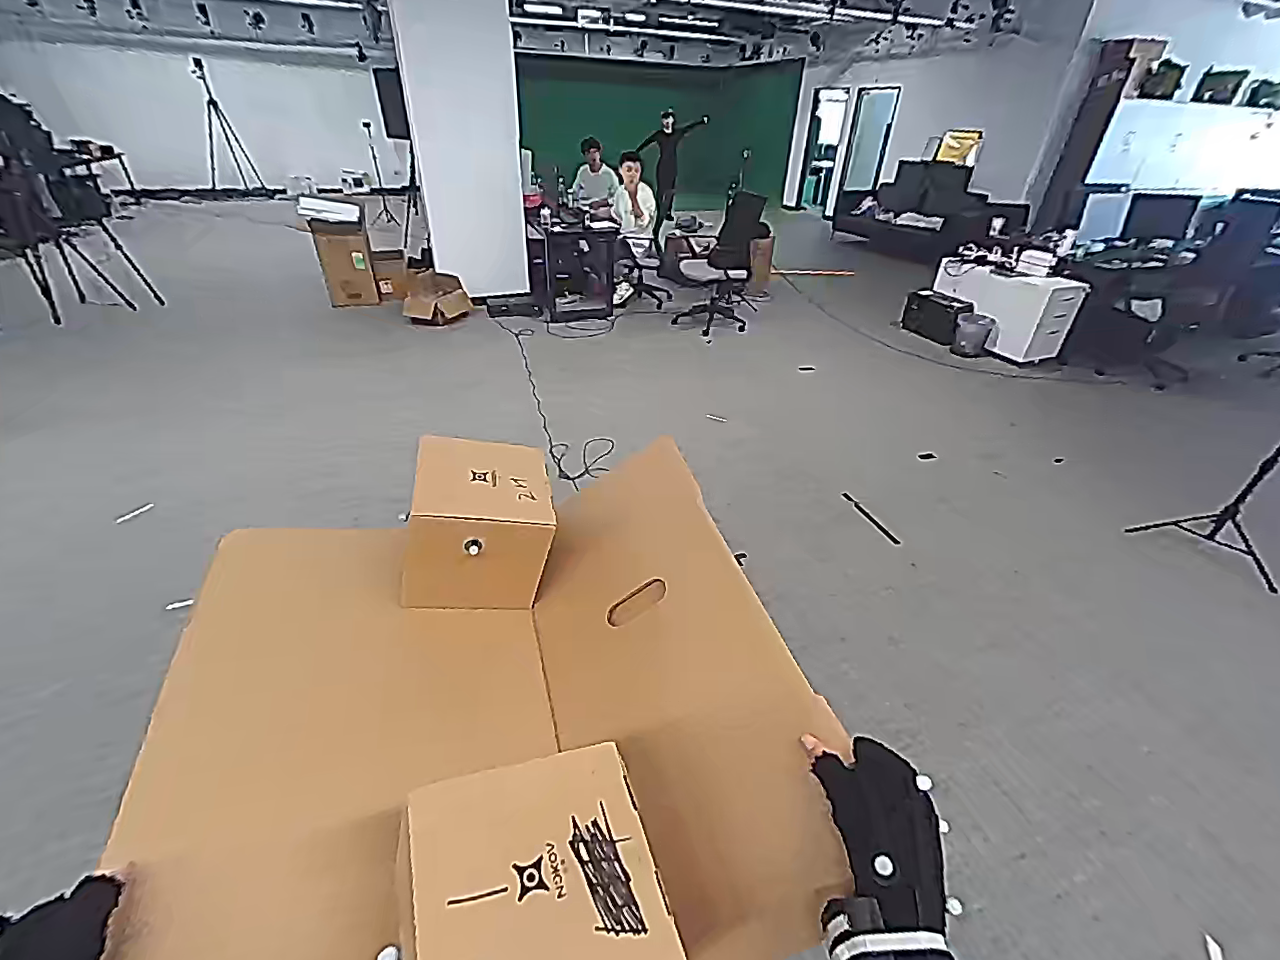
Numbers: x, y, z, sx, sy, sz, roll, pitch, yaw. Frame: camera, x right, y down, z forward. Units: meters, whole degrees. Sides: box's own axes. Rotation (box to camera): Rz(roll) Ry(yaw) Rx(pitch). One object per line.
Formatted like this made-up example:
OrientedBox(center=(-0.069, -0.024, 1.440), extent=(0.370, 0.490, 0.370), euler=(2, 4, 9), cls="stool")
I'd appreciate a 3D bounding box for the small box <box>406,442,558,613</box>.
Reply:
OrientedBox(center=(-0.224, 0.070, 0.760), extent=(0.179, 0.176, 0.168), euler=(8, 37, -22), cls="small box")
